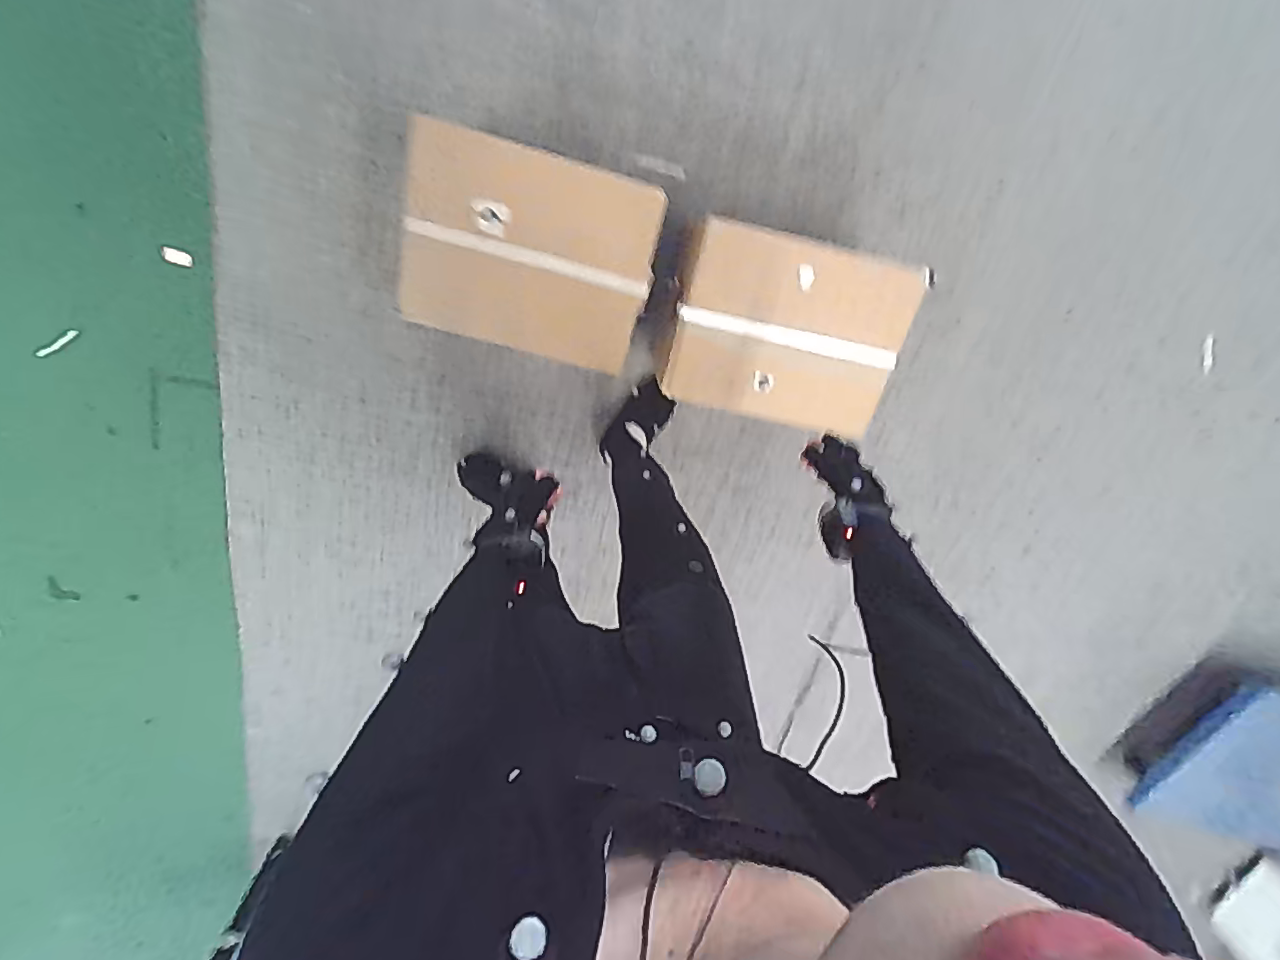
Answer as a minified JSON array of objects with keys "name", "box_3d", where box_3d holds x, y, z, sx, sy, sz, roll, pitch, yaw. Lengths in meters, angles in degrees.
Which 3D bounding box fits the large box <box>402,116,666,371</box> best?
[{"name":"large box","box_3d":[-0.185,-0.438,1.040,0.408,0.320,0.320,15,113,-7]}]
